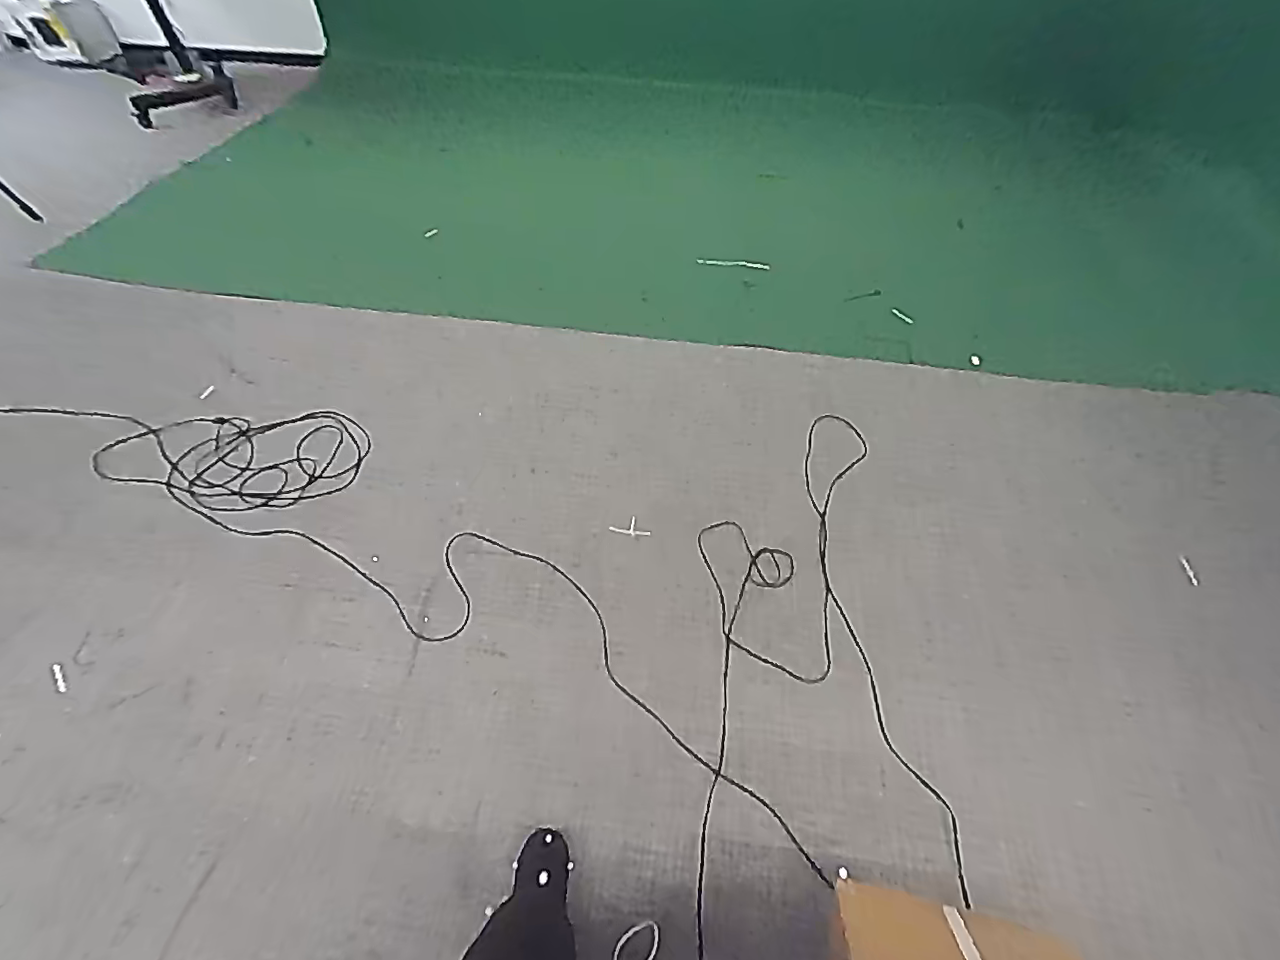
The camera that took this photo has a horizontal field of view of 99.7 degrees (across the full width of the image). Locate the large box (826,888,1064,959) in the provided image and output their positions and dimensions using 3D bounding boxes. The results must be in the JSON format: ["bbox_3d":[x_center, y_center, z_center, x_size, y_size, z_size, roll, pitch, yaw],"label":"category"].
[{"bbox_3d":[0.385,0.784,0.603,0.320,0.408,0.320,8,89,13],"label":"large box"}]
